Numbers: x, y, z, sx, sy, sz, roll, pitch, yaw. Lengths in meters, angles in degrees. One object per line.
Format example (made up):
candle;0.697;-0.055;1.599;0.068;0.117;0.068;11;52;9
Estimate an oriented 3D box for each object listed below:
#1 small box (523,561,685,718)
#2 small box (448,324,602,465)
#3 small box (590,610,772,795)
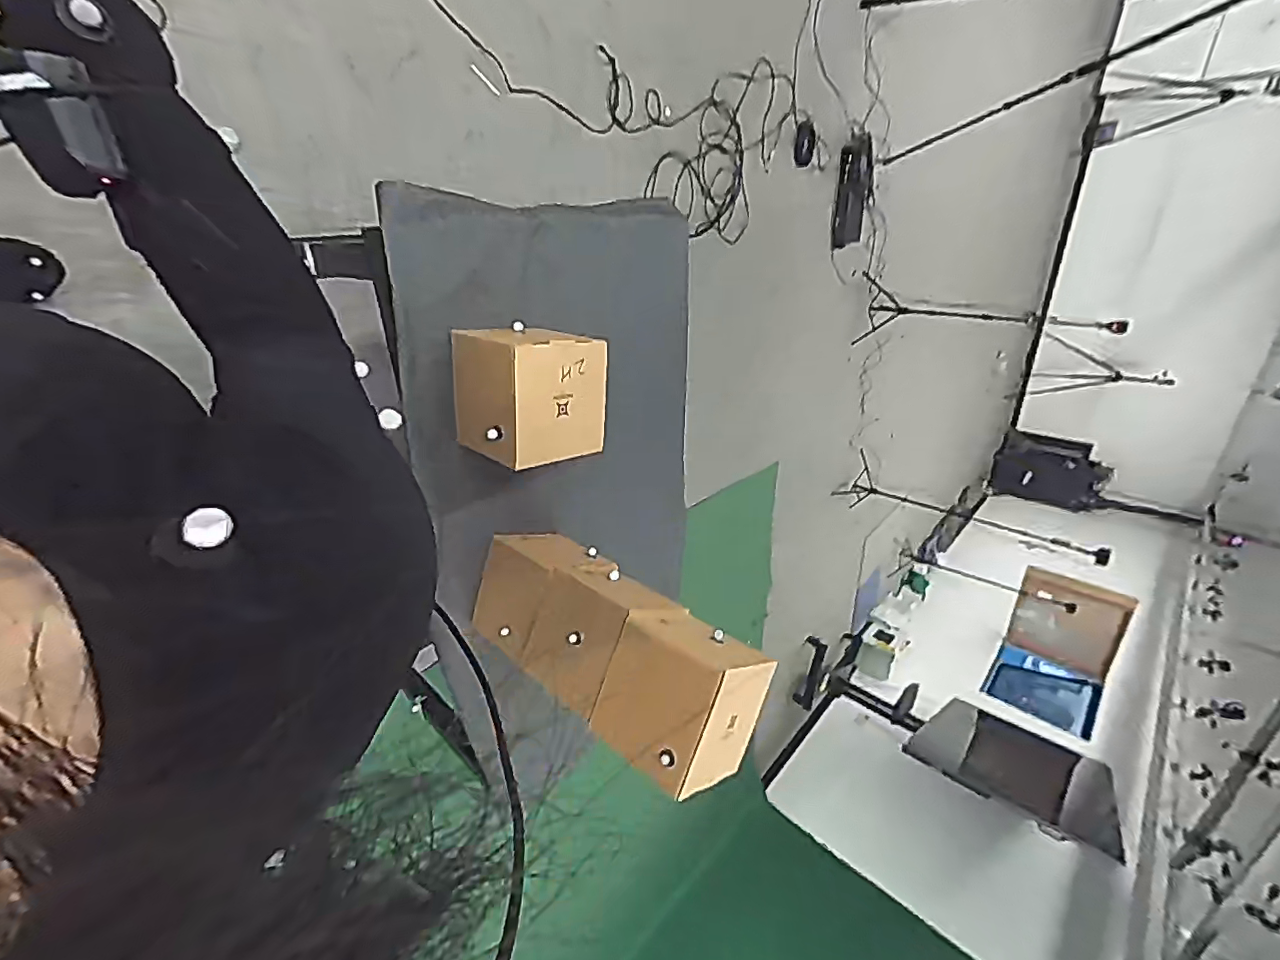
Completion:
small box;-0.062;0.247;0.866;0.168;0.176;0.179;19;91;-51
small box;-0.177;-0.139;0.826;0.168;0.176;0.179;-17;118;-44
small box;0.055;0.295;0.764;0.168;0.176;0.179;18;92;-52
